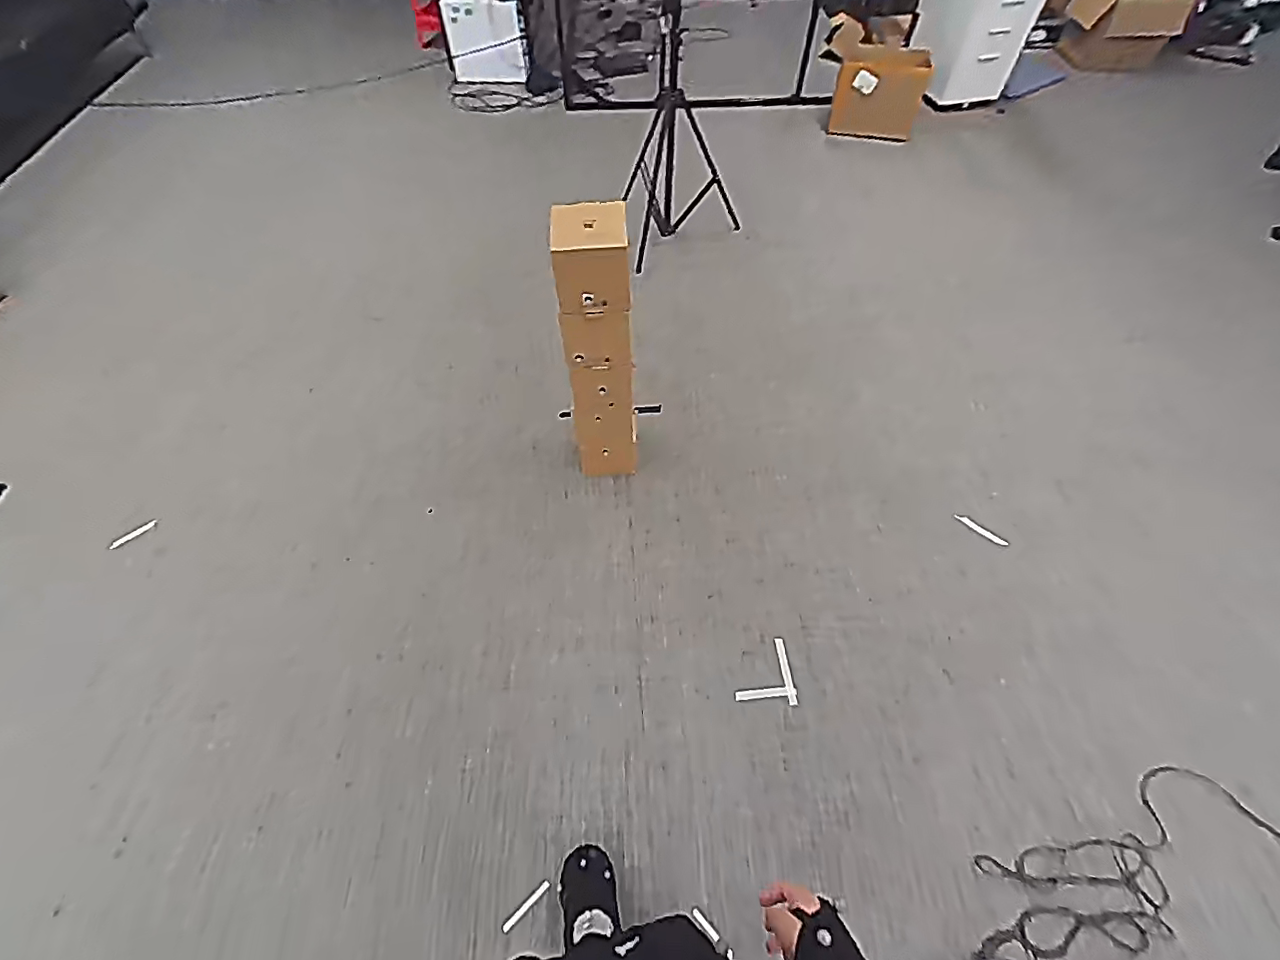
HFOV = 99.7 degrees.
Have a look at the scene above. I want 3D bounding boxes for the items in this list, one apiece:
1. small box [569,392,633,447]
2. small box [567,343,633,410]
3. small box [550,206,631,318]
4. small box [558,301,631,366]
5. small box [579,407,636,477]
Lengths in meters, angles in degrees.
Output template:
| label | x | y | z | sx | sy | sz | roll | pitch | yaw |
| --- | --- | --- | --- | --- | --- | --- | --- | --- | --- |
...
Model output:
| label | x | y | z | sx | sy | sz | roll | pitch | yaw |
| --- | --- | --- | --- | --- | --- | --- | --- | --- | --- |
| small box | -0.113 | -0.211 | 1.624 | 0.179 | 0.176 | 0.168 | -1 | 57 | 0 |
| small box | -0.105 | -0.305 | 1.491 | 0.168 | 0.176 | 0.179 | -2 | 57 | -1 |
| small box | -0.108 | -0.490 | 1.222 | 0.168 | 0.176 | 0.179 | -5 | 57 | -1 |
| small box | -0.110 | -0.399 | 1.356 | 0.168 | 0.176 | 0.179 | -2 | 55 | -1 |
| small box | -0.105 | -0.122 | 1.762 | 0.179 | 0.176 | 0.168 | -3 | 56 | -2 |
